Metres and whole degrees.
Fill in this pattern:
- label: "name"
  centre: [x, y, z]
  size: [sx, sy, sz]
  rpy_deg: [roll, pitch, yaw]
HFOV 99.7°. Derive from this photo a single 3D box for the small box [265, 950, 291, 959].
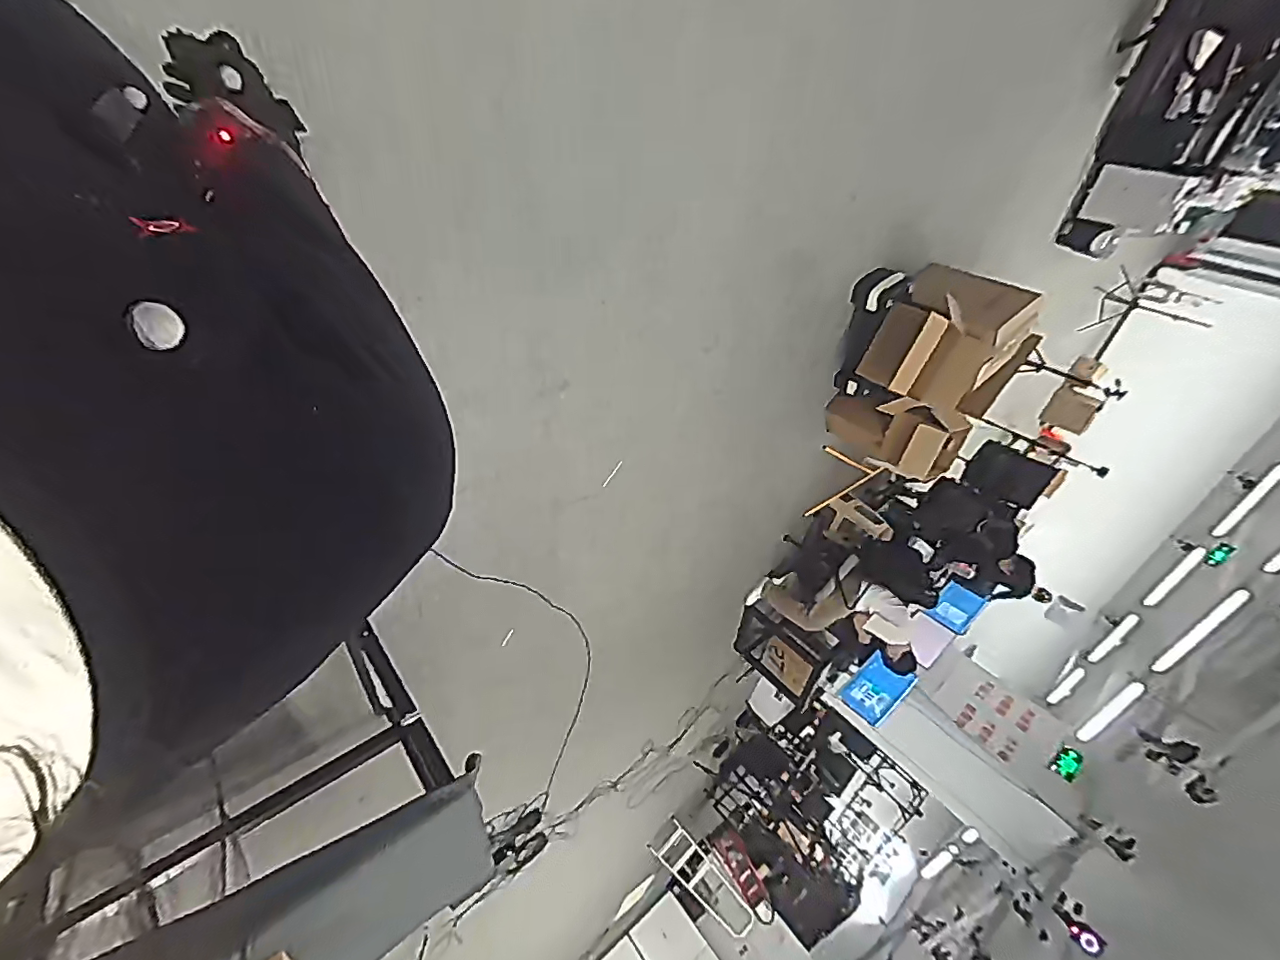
- label: "small box"
  centre: [-0.839, 1.197, 1.187]
  size: [0.179, 0.176, 0.168]
  rpy_deg: [-22, 135, -34]
